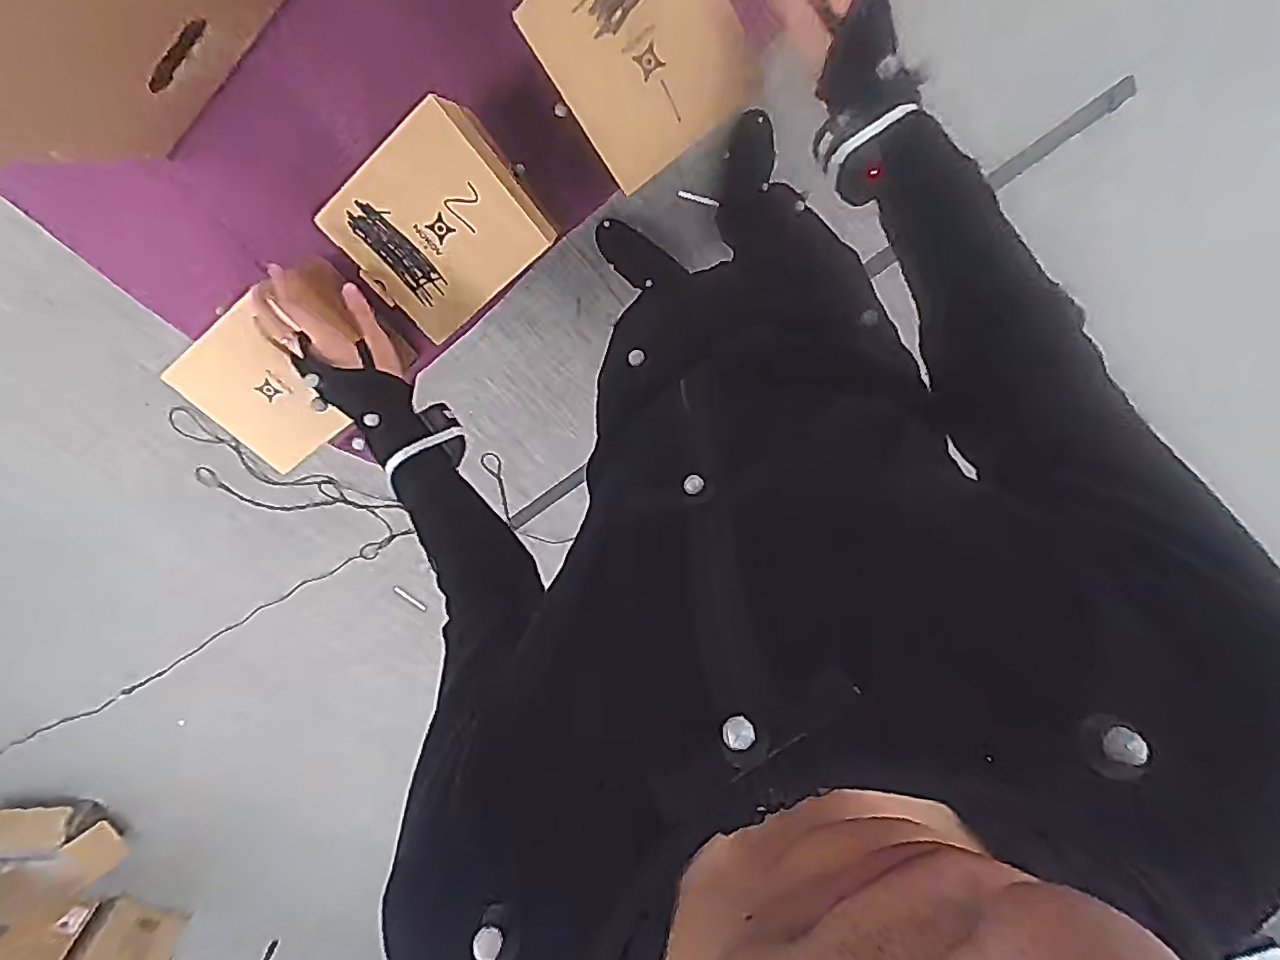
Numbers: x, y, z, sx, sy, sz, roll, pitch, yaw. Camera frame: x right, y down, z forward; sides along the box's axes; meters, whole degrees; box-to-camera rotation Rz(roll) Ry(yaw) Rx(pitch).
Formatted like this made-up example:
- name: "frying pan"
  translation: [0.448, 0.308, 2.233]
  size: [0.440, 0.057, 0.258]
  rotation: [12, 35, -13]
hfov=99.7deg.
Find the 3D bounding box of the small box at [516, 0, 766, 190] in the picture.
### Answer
- name: "small box"
  translation: [-0.001, -0.429, 0.554]
  size: [0.168, 0.176, 0.179]
  rotation: [-32, 119, 15]
